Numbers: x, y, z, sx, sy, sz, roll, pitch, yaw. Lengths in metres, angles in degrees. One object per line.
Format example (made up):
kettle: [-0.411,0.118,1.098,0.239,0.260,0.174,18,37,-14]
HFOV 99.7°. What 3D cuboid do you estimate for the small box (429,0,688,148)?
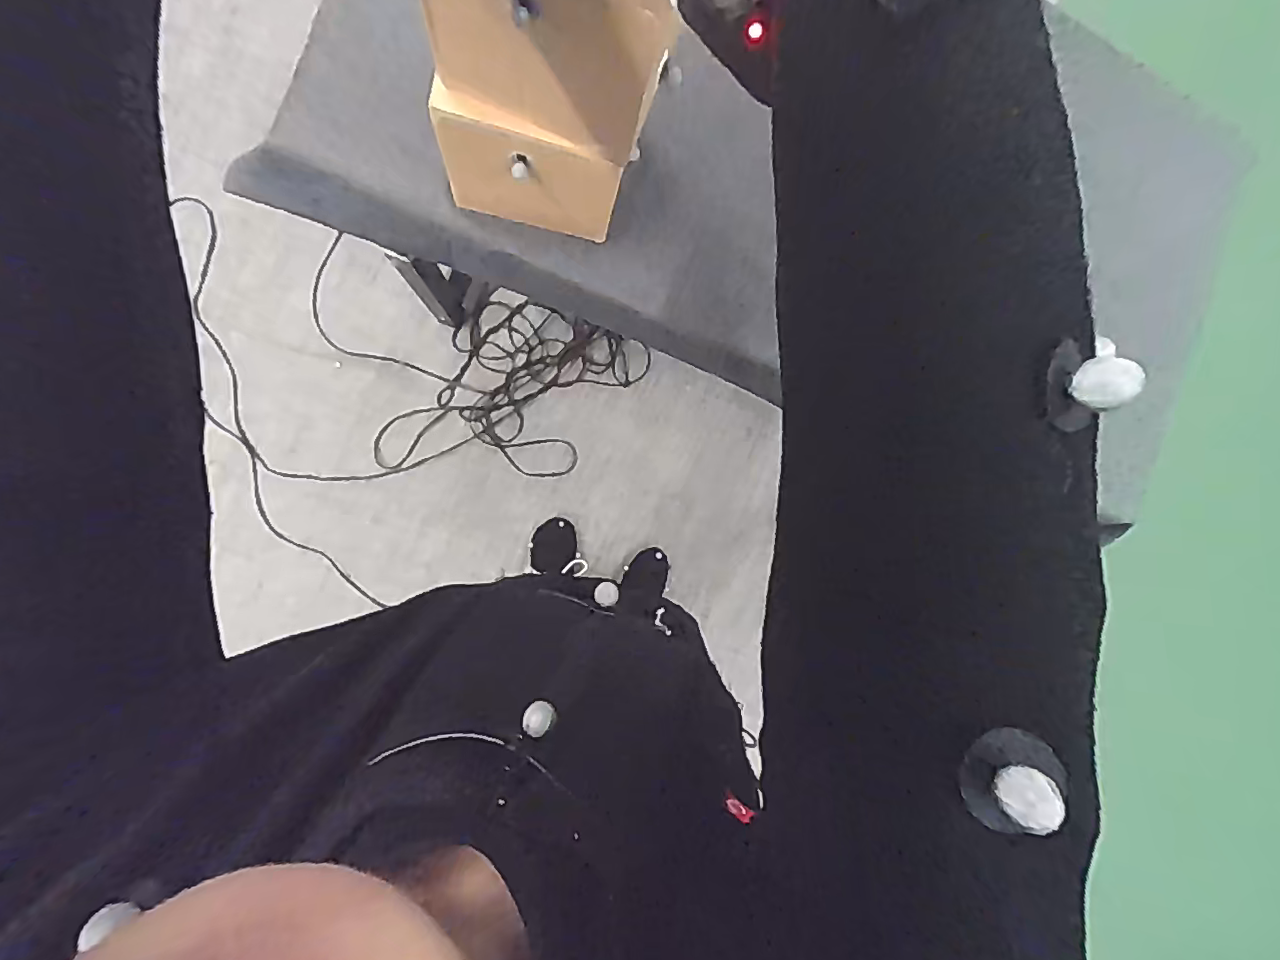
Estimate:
small box: [-0.051,-0.390,0.396,0.179,0.176,0.168,20,88,-10]

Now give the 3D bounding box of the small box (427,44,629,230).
small box: [-0.096,-0.383,0.553,0.179,0.176,0.168,11,89,-9]
